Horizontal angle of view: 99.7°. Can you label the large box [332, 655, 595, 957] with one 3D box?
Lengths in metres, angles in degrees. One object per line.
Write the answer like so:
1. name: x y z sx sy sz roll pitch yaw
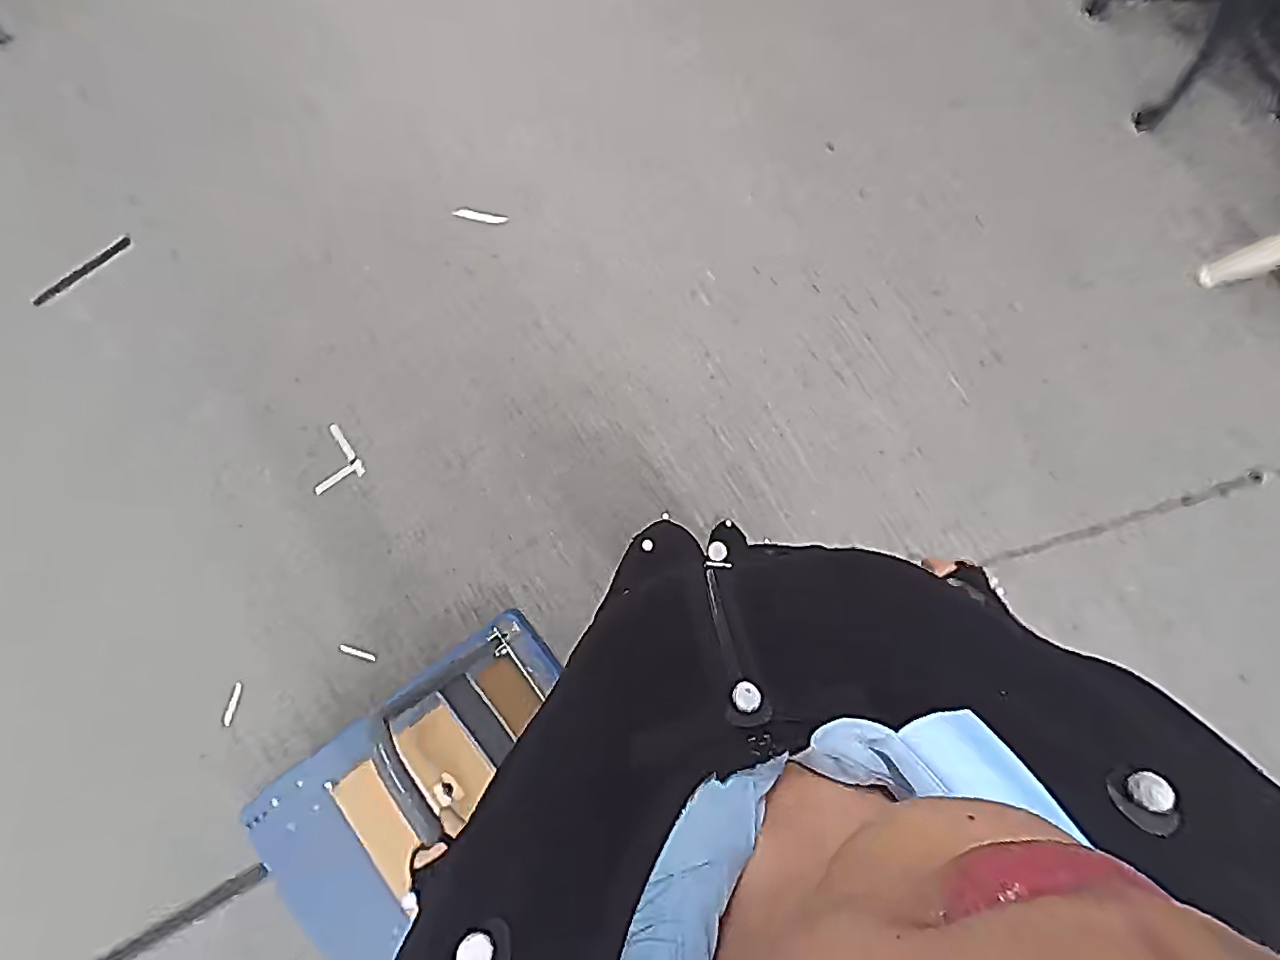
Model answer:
1. large box: -0.352 0.665 1.180 0.320 0.320 0.408 -36 84 0
